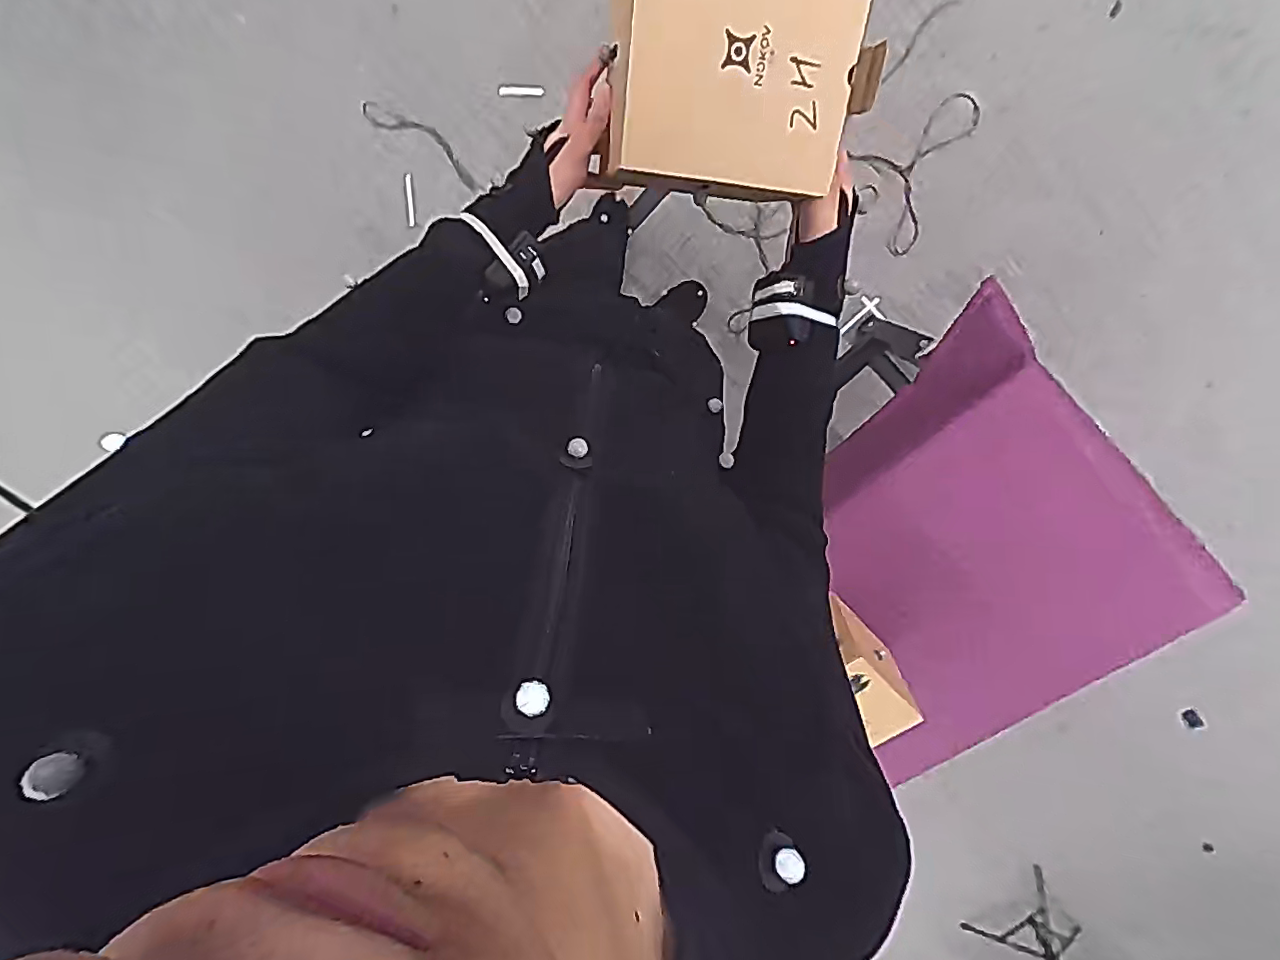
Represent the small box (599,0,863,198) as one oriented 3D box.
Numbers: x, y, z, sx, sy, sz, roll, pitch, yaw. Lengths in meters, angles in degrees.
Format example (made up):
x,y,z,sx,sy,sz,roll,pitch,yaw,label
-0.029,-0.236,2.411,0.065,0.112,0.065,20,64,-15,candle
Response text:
x,y,z,sx,sy,sz,roll,pitch,yaw,label
0.060,-0.344,0.463,0.179,0.176,0.168,1,115,-11,small box
